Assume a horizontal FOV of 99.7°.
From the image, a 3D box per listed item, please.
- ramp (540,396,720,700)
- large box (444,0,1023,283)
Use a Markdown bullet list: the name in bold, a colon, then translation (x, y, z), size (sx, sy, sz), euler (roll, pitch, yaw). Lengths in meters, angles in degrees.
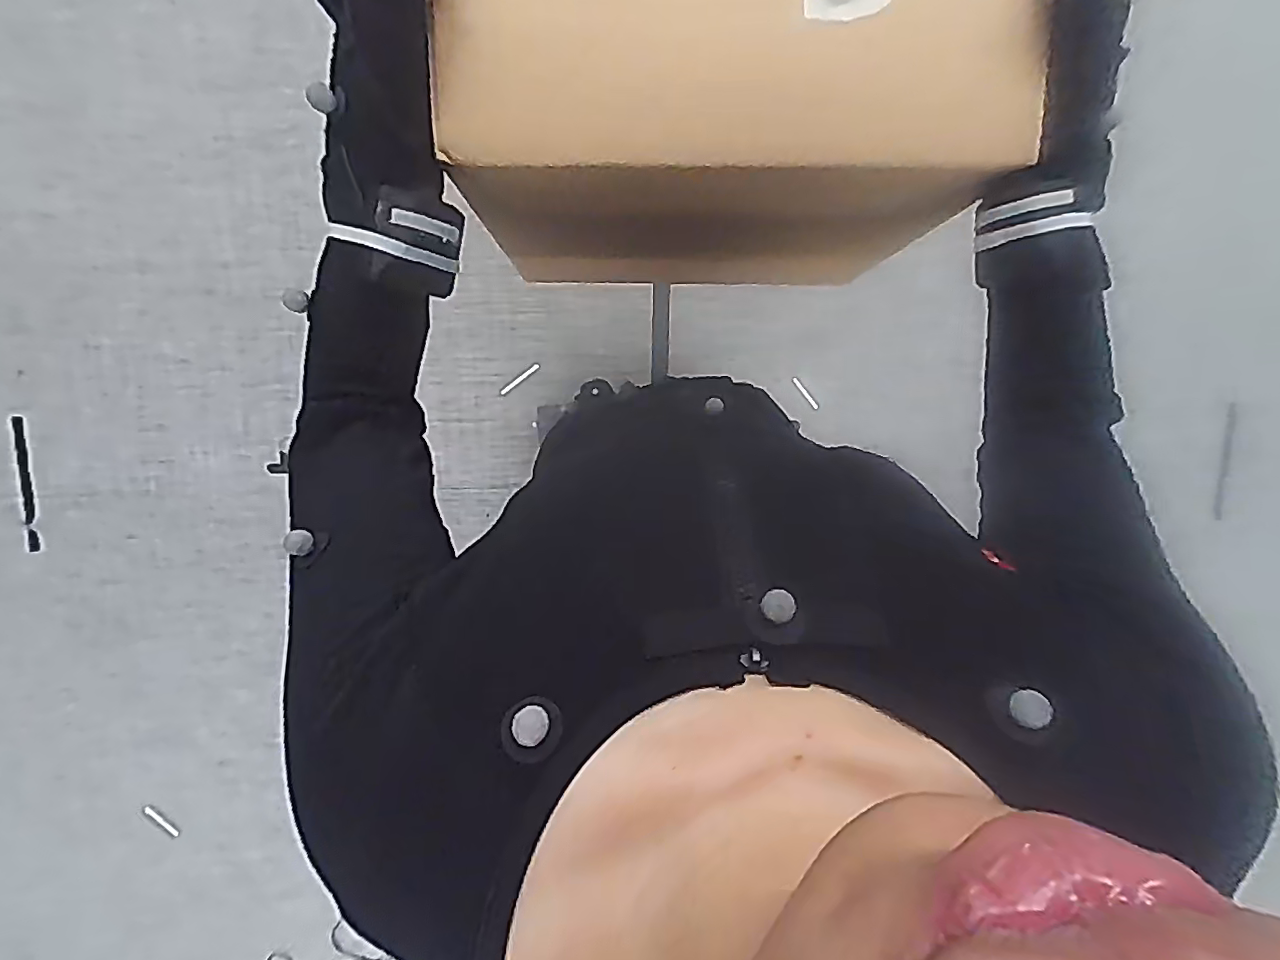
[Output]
- **ramp**: translation (-0.022, 0.245, 1.620), size (0.509, 0.206, 0.991), euler (-3, 100, -3)
- **large box**: translation (0.059, -0.387, 0.510), size (0.408, 0.320, 0.320), euler (-1, 96, -2)
